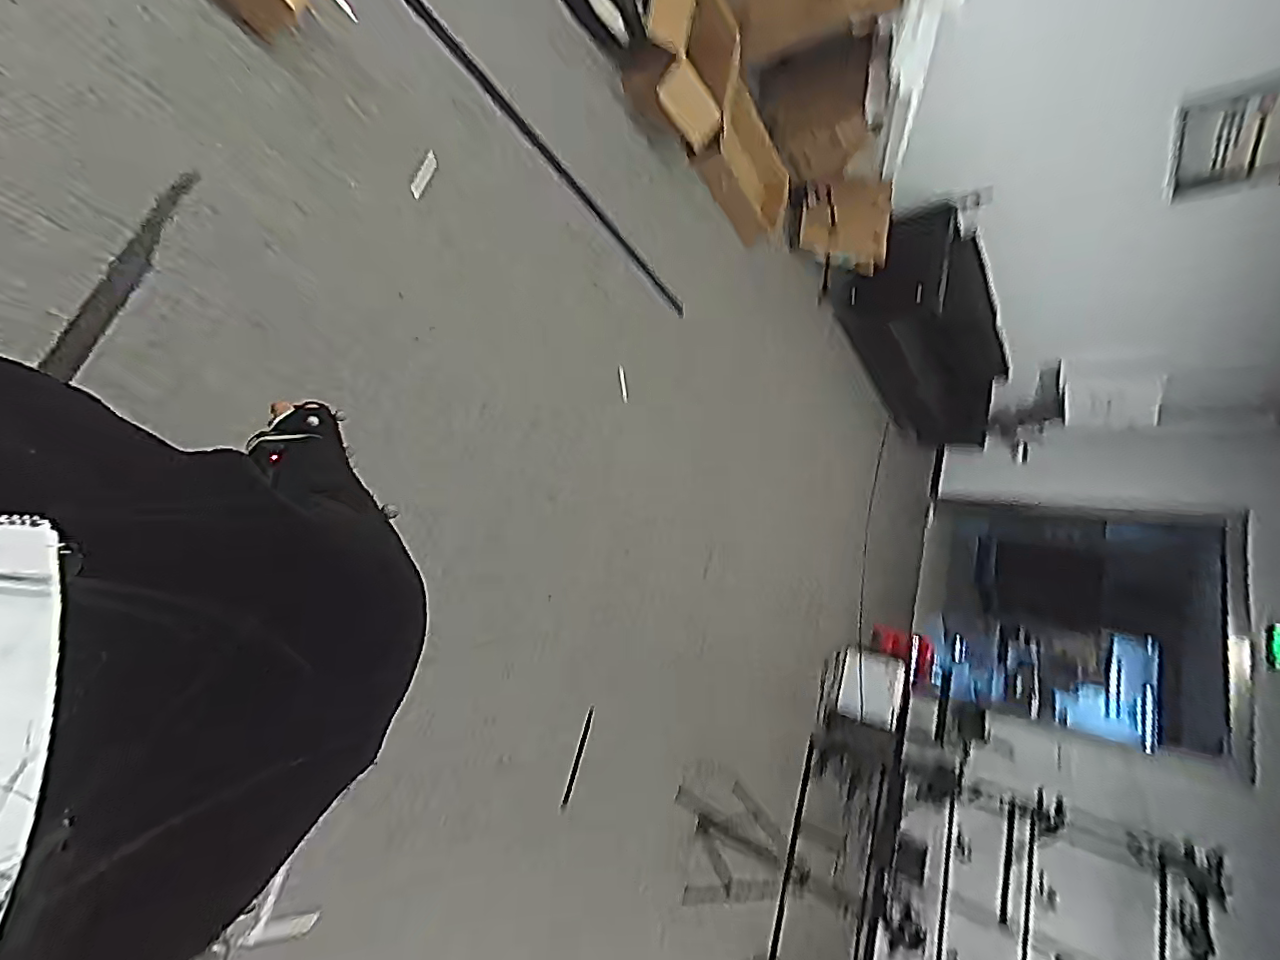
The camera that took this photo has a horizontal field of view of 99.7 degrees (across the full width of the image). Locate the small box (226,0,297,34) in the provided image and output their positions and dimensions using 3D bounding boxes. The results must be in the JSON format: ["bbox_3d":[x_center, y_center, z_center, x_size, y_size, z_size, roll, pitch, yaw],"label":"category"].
[{"bbox_3d":[-0.847,-1.145,1.183,0.179,0.176,0.168,39,64,-45],"label":"small box"}]
